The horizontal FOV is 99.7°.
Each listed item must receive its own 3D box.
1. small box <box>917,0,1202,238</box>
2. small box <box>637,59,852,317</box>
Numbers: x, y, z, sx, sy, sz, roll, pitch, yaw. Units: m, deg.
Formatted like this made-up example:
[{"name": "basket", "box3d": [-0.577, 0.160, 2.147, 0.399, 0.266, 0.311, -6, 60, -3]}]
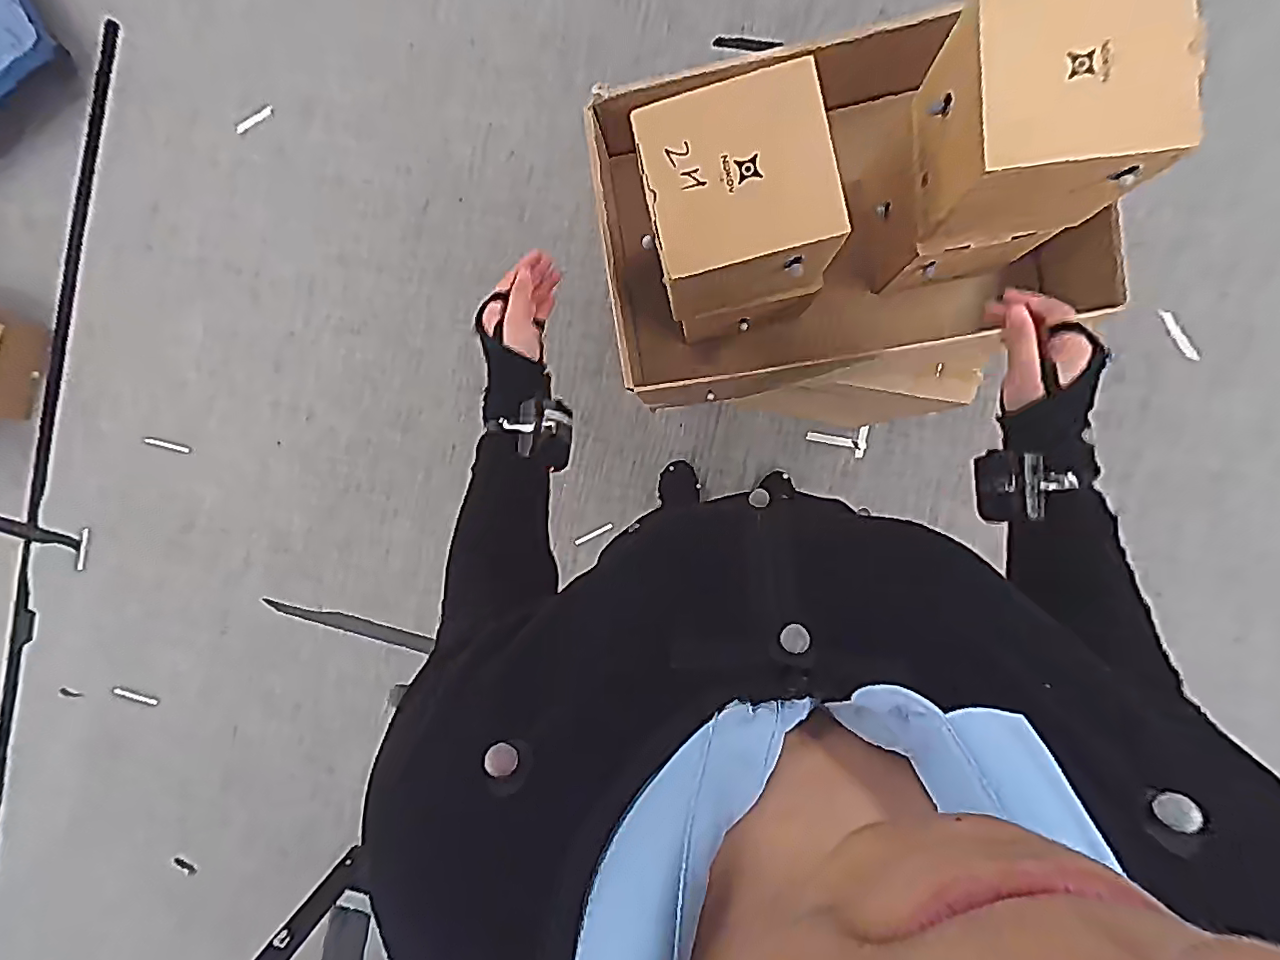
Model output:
[{"name": "small box", "box3d": [0.397, -0.364, 0.548, 0.179, 0.176, 0.168, -4, 92, 7]}, {"name": "small box", "box3d": [0.104, -0.293, 0.584, 0.179, 0.176, 0.168, -13, 91, 7]}]
